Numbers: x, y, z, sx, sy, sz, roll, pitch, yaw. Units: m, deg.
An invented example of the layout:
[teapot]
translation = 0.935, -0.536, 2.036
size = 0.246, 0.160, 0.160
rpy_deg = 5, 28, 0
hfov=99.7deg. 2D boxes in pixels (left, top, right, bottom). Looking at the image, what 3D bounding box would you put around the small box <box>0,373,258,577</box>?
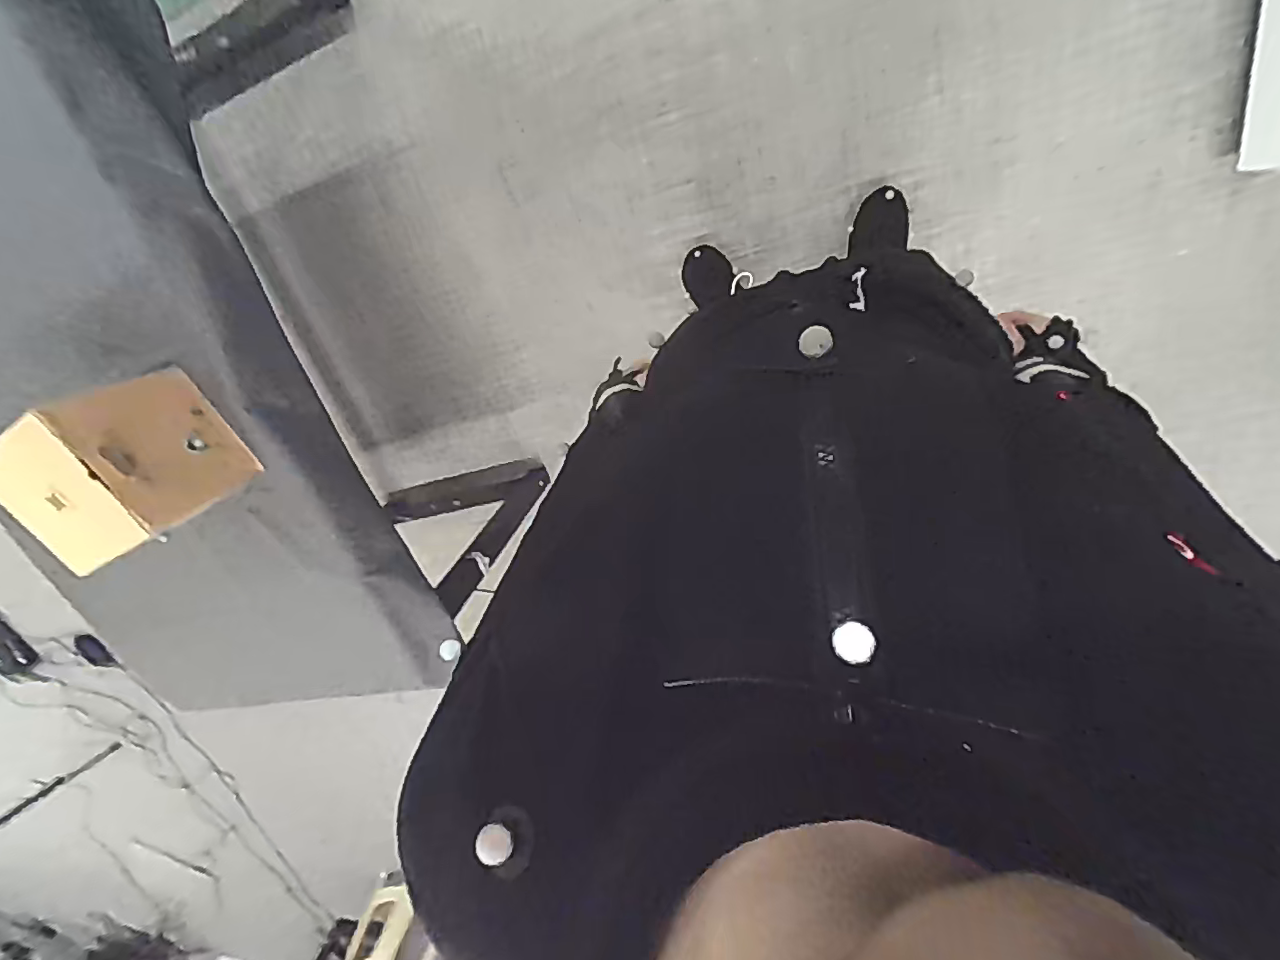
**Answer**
[small box]
translation = -0.641, -0.011, 0.680
size = 0.179, 0.176, 0.168
rpy_deg = -23, 110, 21
